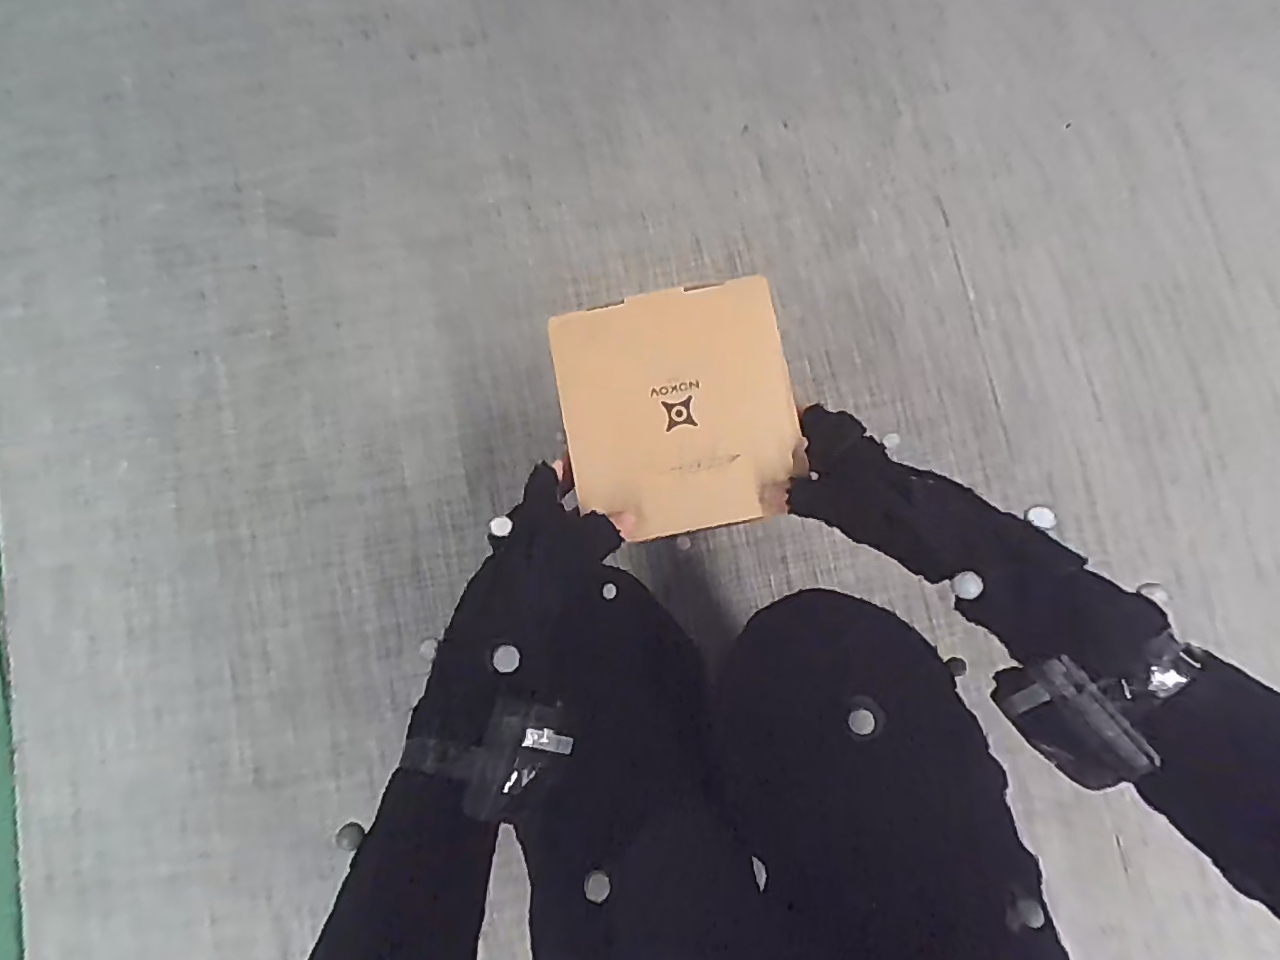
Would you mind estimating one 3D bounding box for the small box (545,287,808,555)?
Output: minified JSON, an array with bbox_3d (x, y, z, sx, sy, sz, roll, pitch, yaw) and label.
[{"bbox_3d":[0.026,-0.034,0.465,0.168,0.176,0.179,-11,83,2],"label":"small box"}]
